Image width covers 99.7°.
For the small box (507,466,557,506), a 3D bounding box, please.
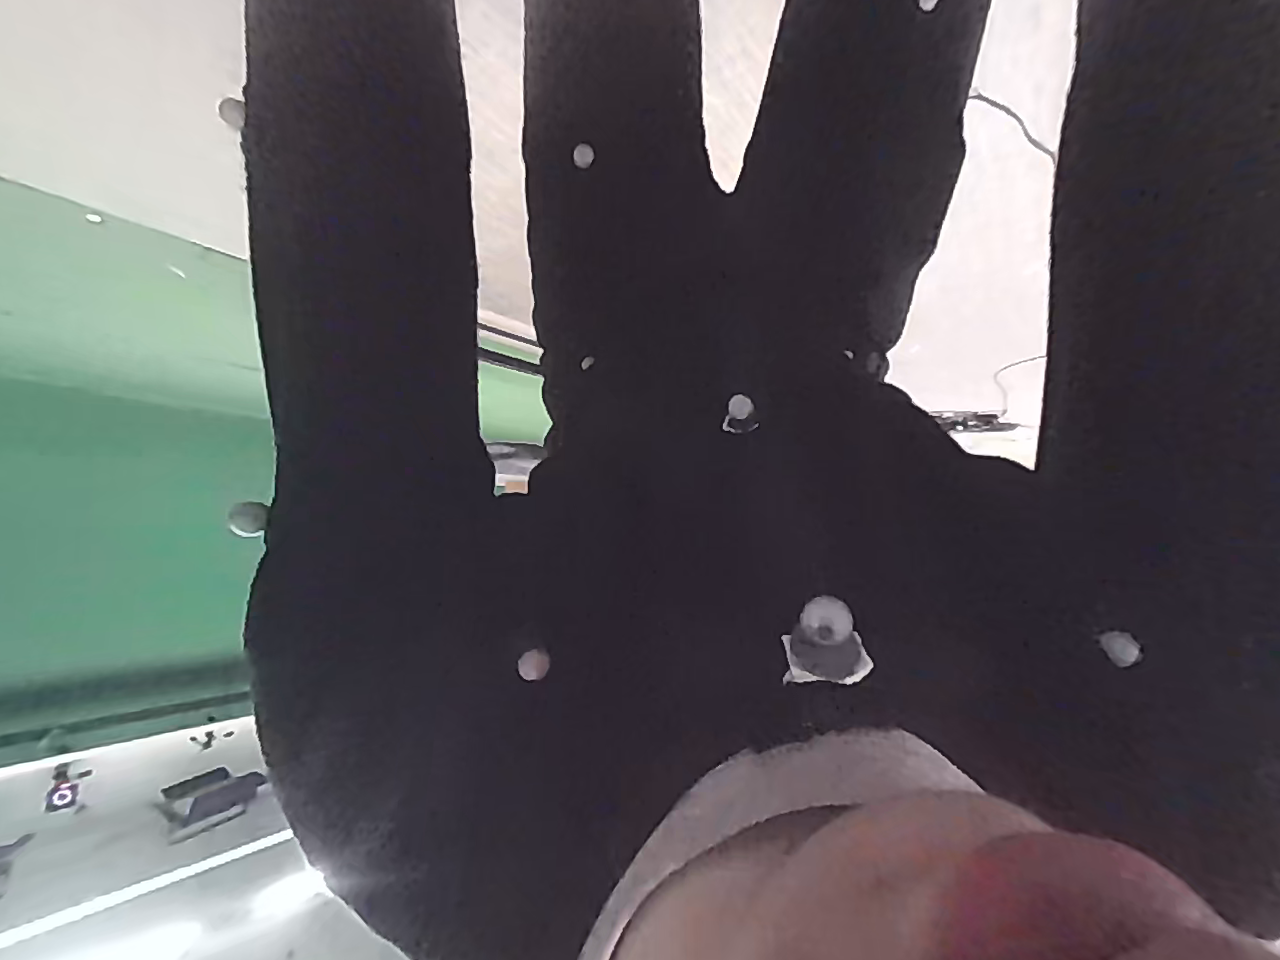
[{"bbox_3d":[-0.496,0.029,2.498,0.179,0.176,0.168,-2,175,43],"label":"small box"}]
